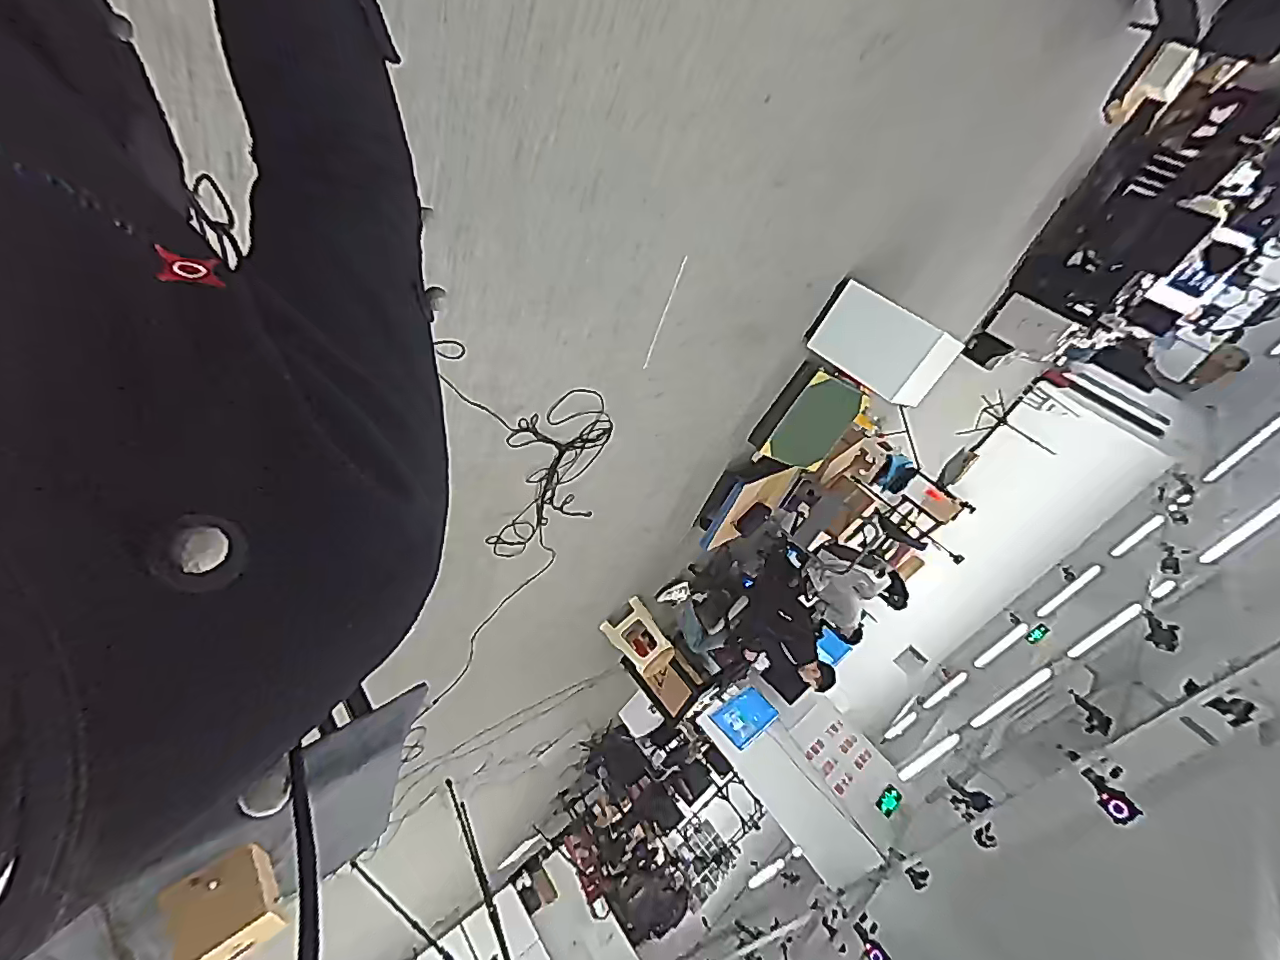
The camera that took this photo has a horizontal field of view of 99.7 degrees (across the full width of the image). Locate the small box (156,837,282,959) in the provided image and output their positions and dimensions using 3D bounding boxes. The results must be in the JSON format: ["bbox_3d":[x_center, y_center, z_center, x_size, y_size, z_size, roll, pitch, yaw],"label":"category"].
[{"bbox_3d":[-0.924,0.932,1.193,0.168,0.176,0.179,-23,146,-35],"label":"small box"}]
